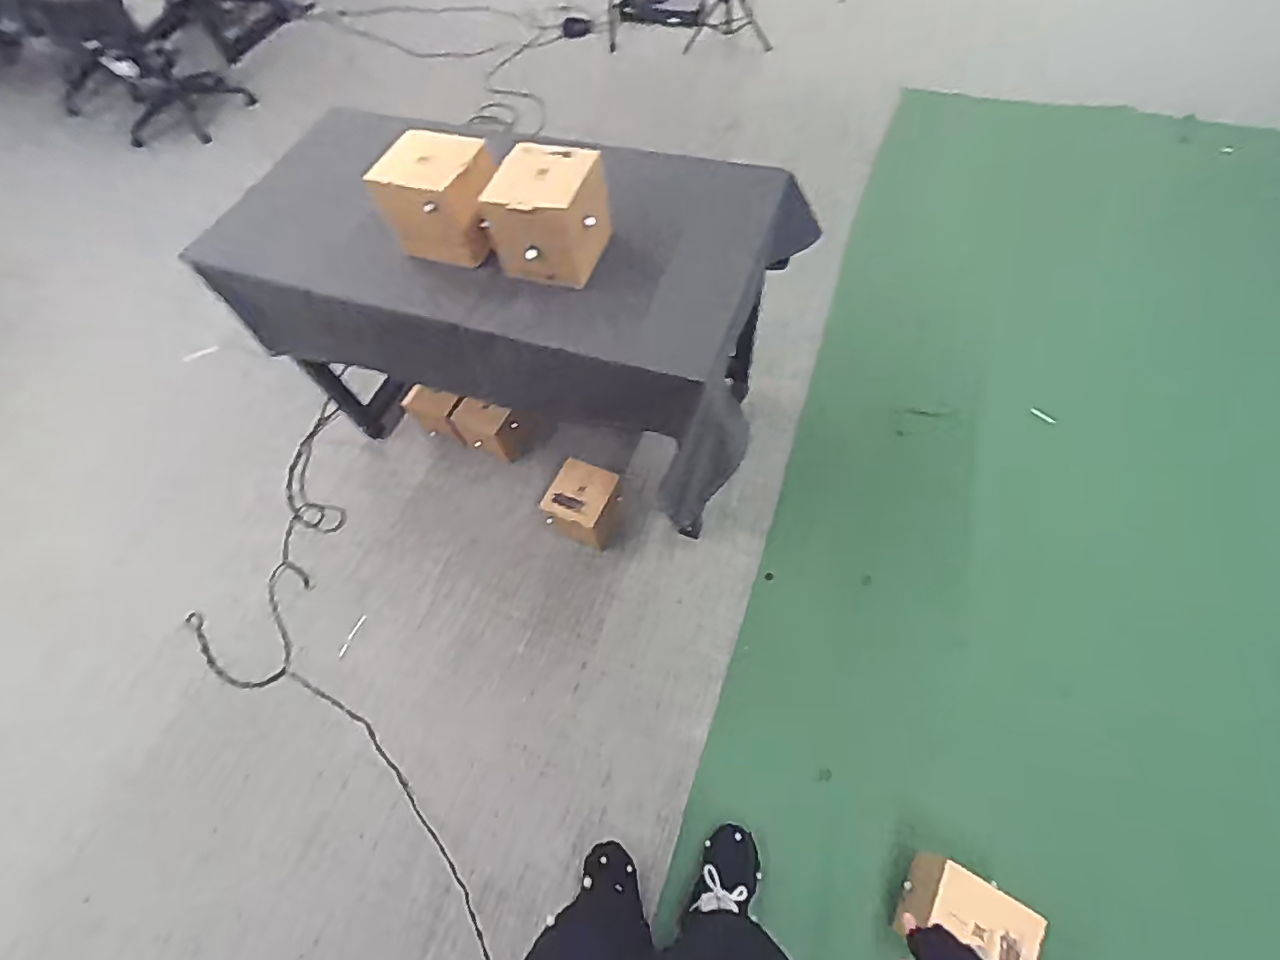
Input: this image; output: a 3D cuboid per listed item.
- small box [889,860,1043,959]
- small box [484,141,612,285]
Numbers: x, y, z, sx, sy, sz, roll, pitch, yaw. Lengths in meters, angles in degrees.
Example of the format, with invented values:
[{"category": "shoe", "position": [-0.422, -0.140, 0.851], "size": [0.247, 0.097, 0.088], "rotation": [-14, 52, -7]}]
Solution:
[{"category": "small box", "position": [0.610, 0.861, 1.030], "size": [0.179, 0.176, 0.168], "rotation": [27, 66, 19]}, {"category": "small box", "position": [-0.159, -0.497, 1.015], "size": [0.168, 0.176, 0.179], "rotation": [15, 64, 12]}]
